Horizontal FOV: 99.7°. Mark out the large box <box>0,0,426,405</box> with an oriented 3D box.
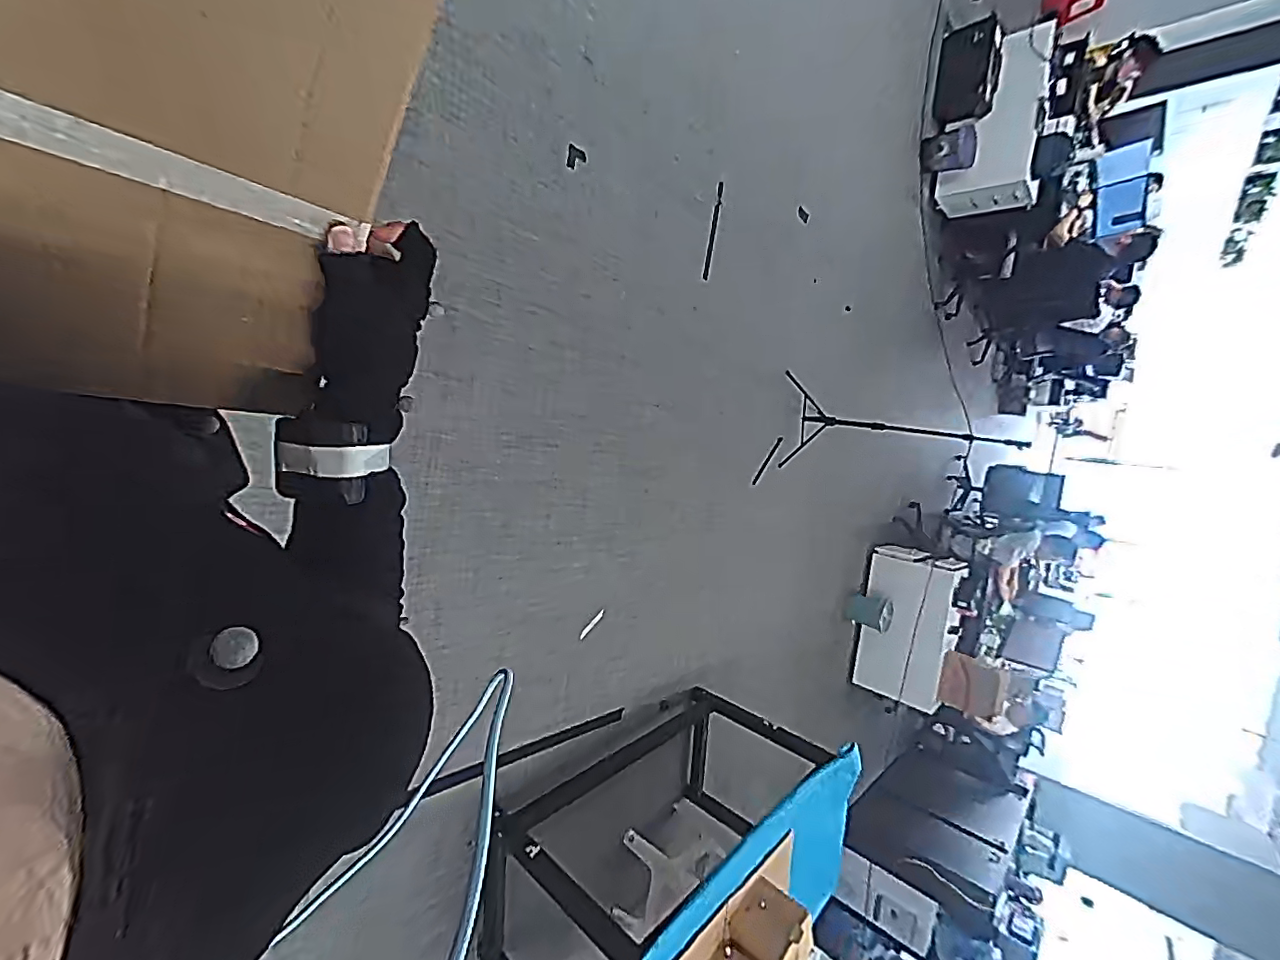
[{"bbox_3d":[-0.403,-0.274,0.295,0.408,0.320,0.320,2,134,-47],"label":"large box"}]
